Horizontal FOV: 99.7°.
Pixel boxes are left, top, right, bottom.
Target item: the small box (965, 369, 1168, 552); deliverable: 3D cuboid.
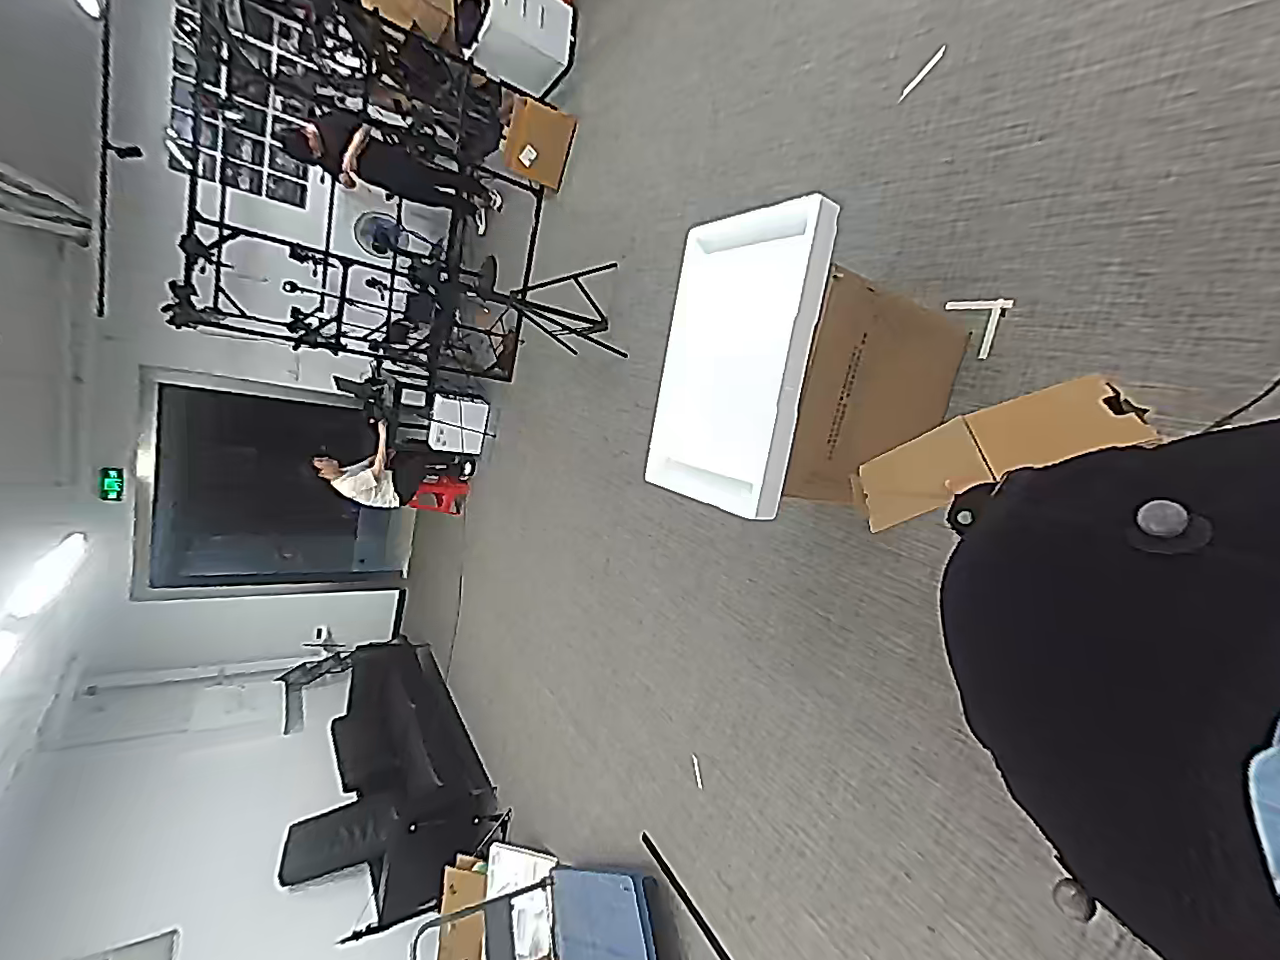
[{"bbox_3d":[0.596,-0.020,0.766,0.179,0.176,0.168,-20,33,28],"label":"small box"}]
